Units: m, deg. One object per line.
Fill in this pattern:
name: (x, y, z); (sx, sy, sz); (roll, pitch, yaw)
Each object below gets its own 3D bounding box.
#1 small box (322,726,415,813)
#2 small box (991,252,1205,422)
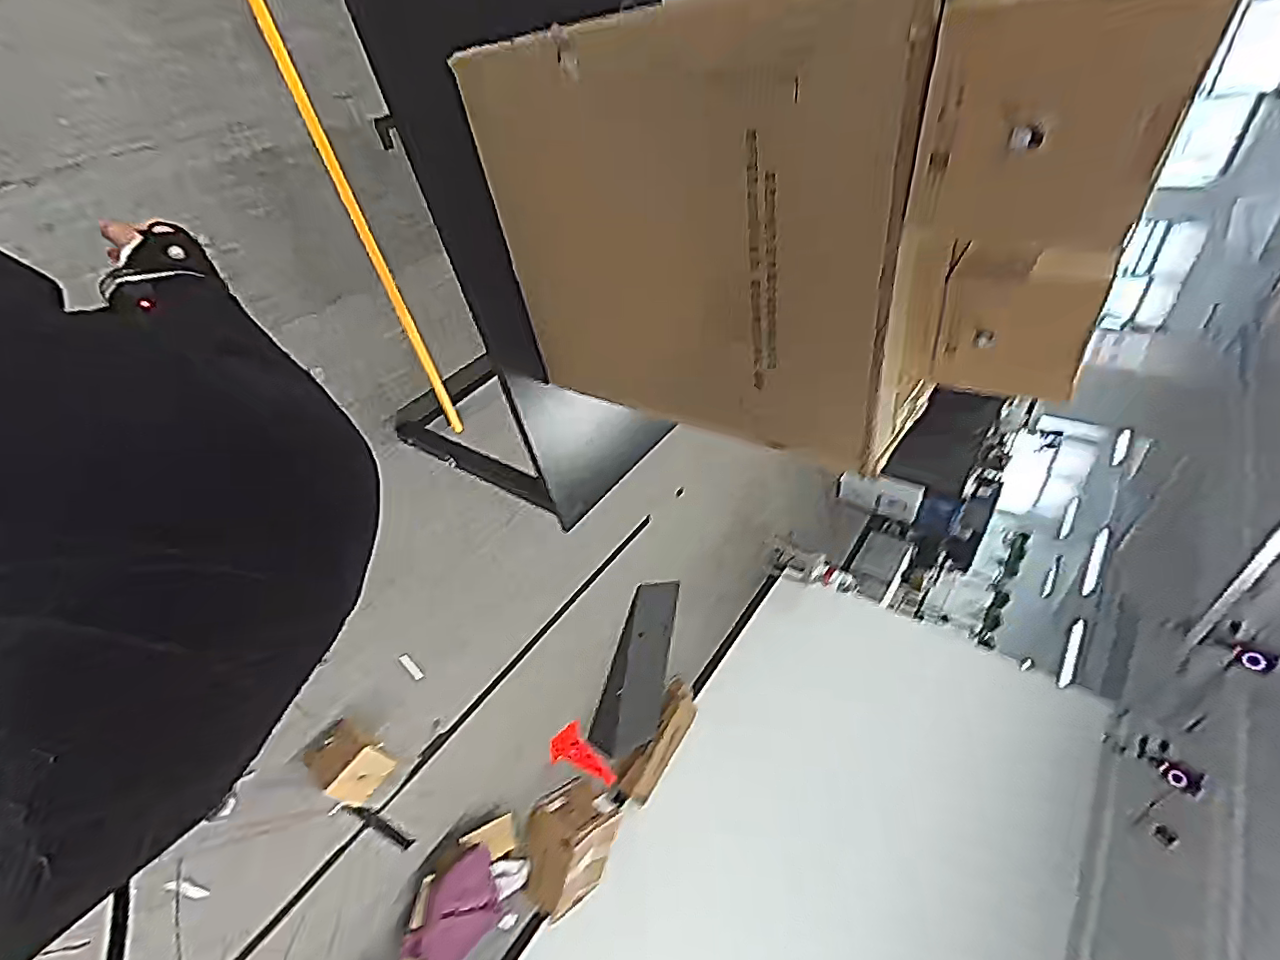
small box: (-0.880, 0.934, 1.753); (0.168, 0.176, 0.179); (-50, 142, -27)
small box: (0.597, -0.207, 0.721); (0.179, 0.176, 0.168); (-48, 141, -32)
